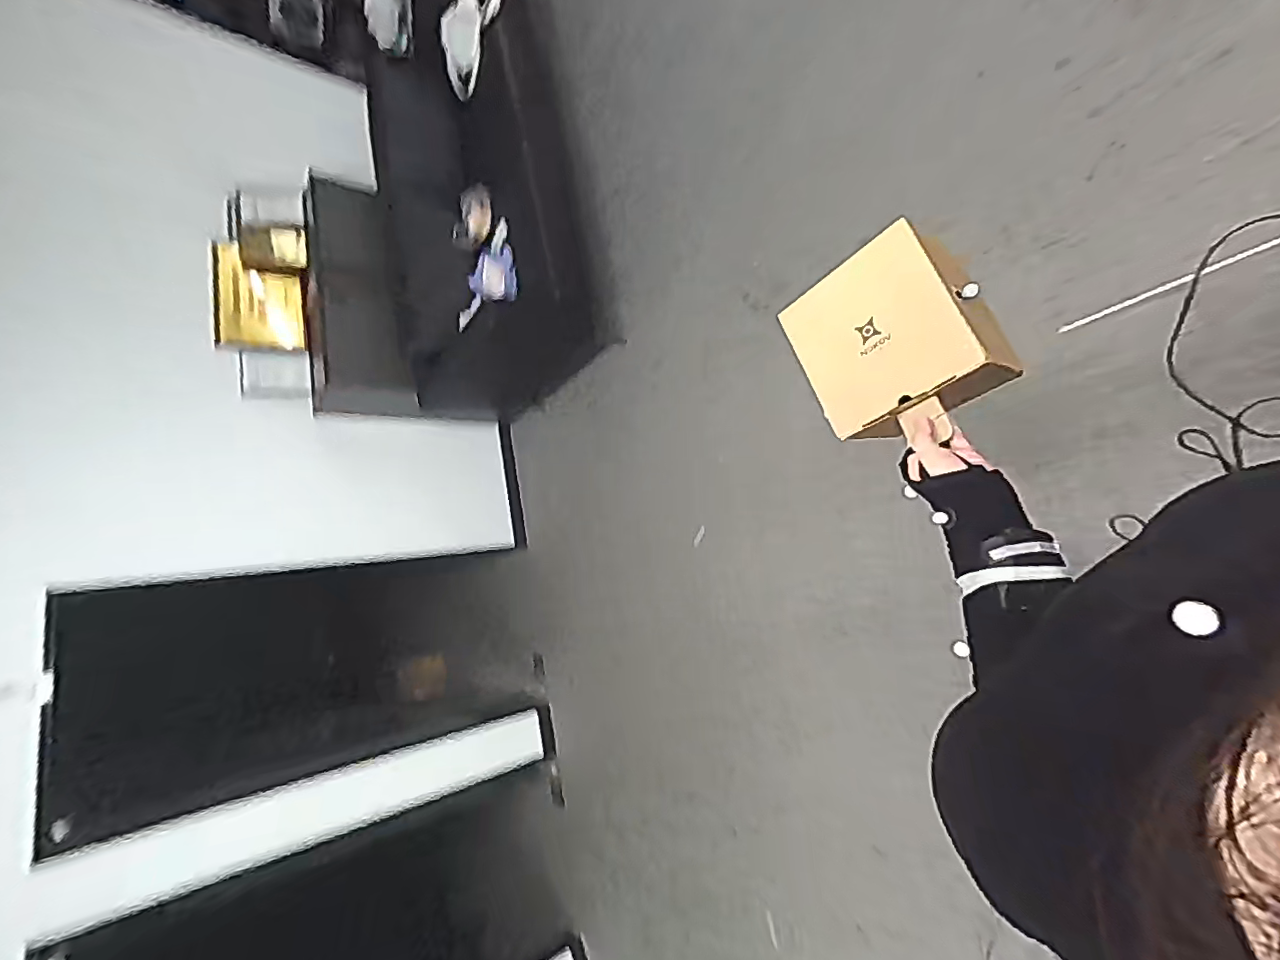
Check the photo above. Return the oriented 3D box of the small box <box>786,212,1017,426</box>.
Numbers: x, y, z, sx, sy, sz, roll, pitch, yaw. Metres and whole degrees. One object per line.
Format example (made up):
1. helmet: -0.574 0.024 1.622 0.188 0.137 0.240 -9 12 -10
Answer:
1. small box: 0.313 -0.176 0.648 0.168 0.176 0.179 -32 73 42
